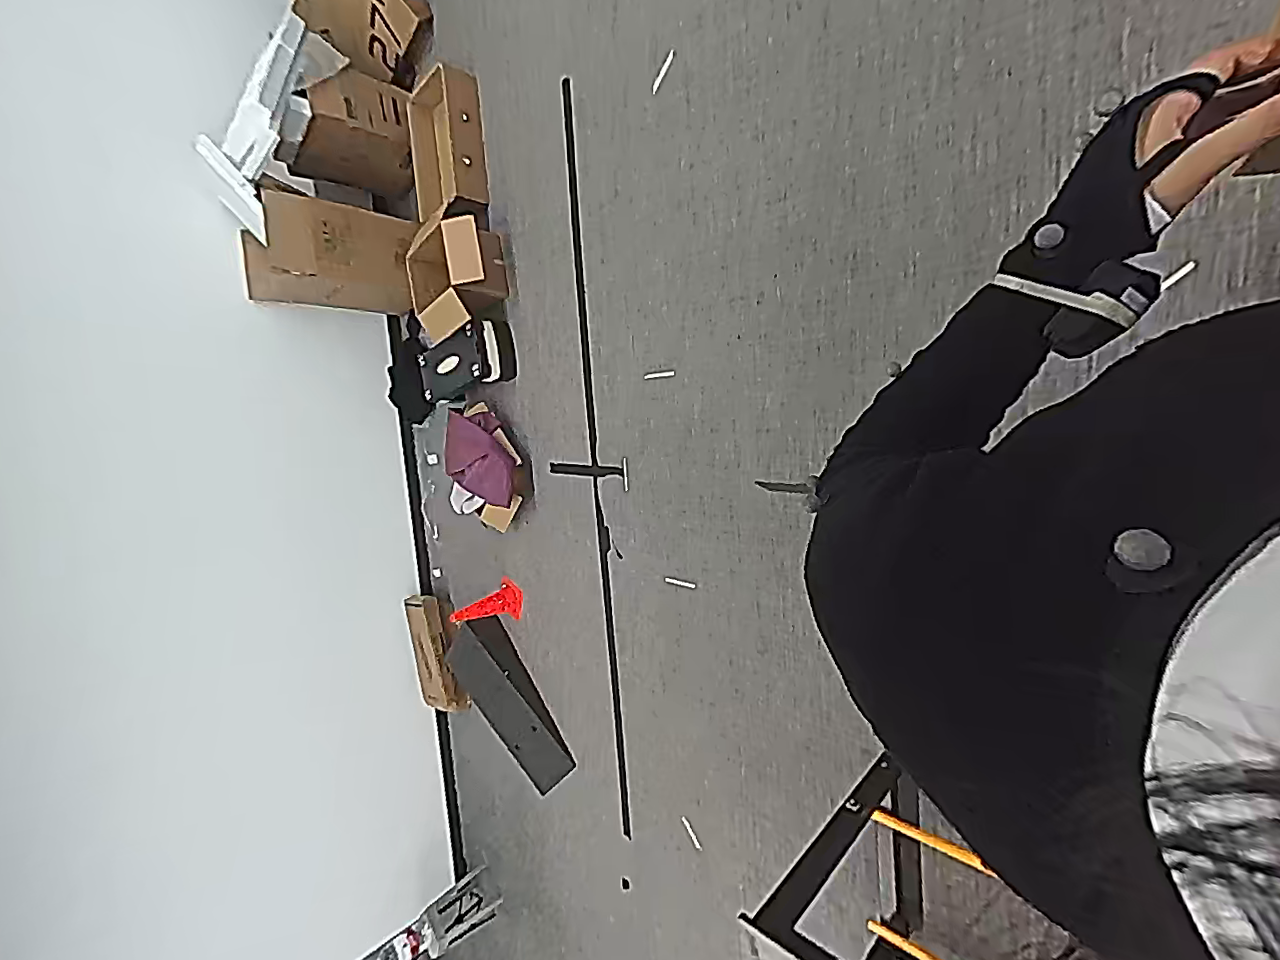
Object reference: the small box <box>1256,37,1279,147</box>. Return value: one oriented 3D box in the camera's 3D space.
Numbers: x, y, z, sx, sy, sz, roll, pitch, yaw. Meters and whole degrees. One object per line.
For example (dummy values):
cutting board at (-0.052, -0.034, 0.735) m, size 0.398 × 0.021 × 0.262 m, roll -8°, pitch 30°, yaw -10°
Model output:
small box at (0.482, -0.306, 0.286) m, size 0.168 × 0.176 × 0.179 m, roll 14°, pitch 111°, yaw 38°
